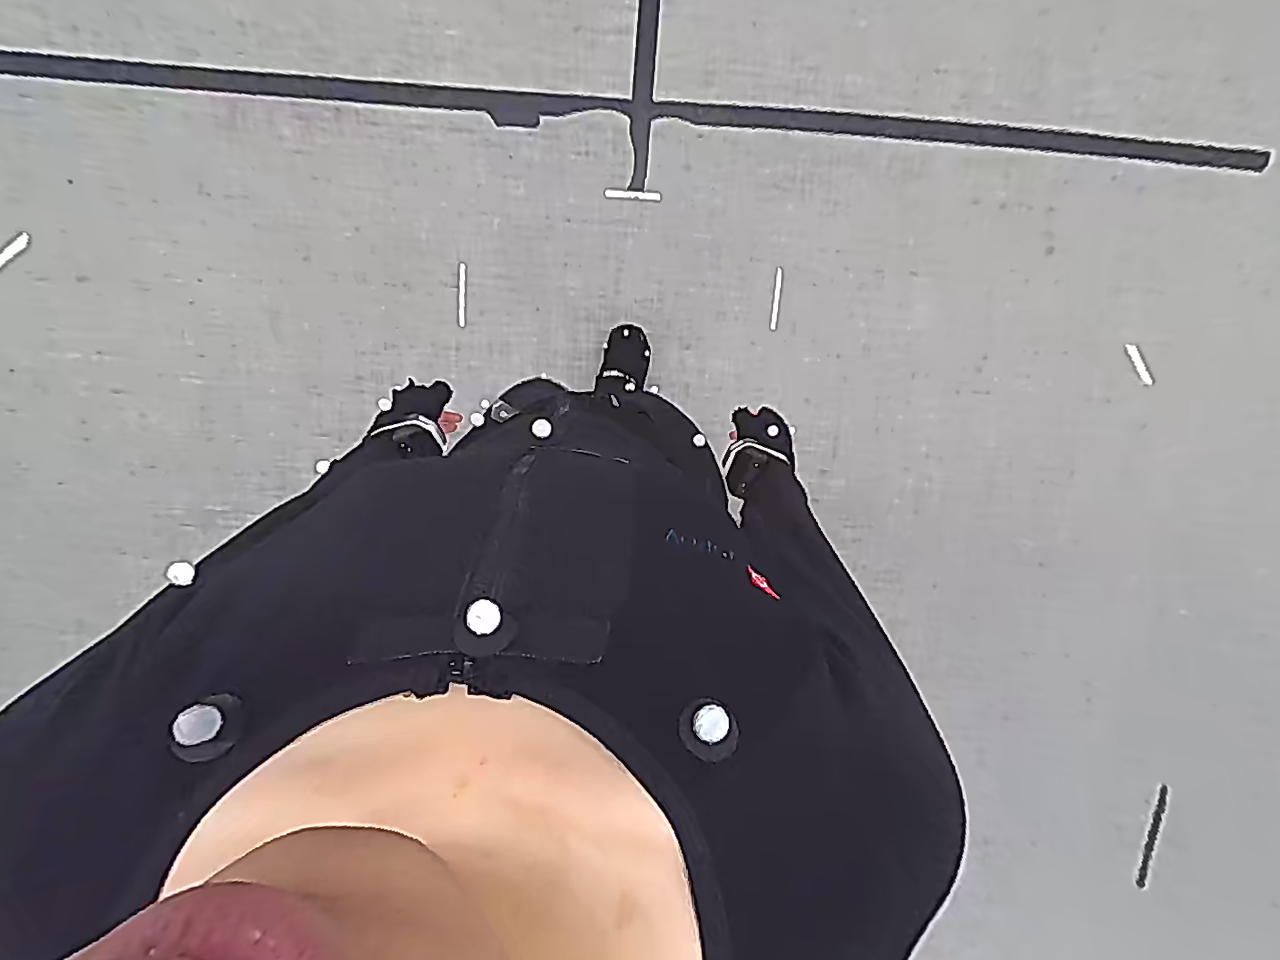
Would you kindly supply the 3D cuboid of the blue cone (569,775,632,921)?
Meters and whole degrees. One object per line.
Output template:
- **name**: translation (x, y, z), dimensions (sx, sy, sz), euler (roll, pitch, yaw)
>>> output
- **blue cone**: translation (-0.111, 1.024, 1.495), dimensions (0.192, 0.380, 0.193), euler (0, 102, -3)
